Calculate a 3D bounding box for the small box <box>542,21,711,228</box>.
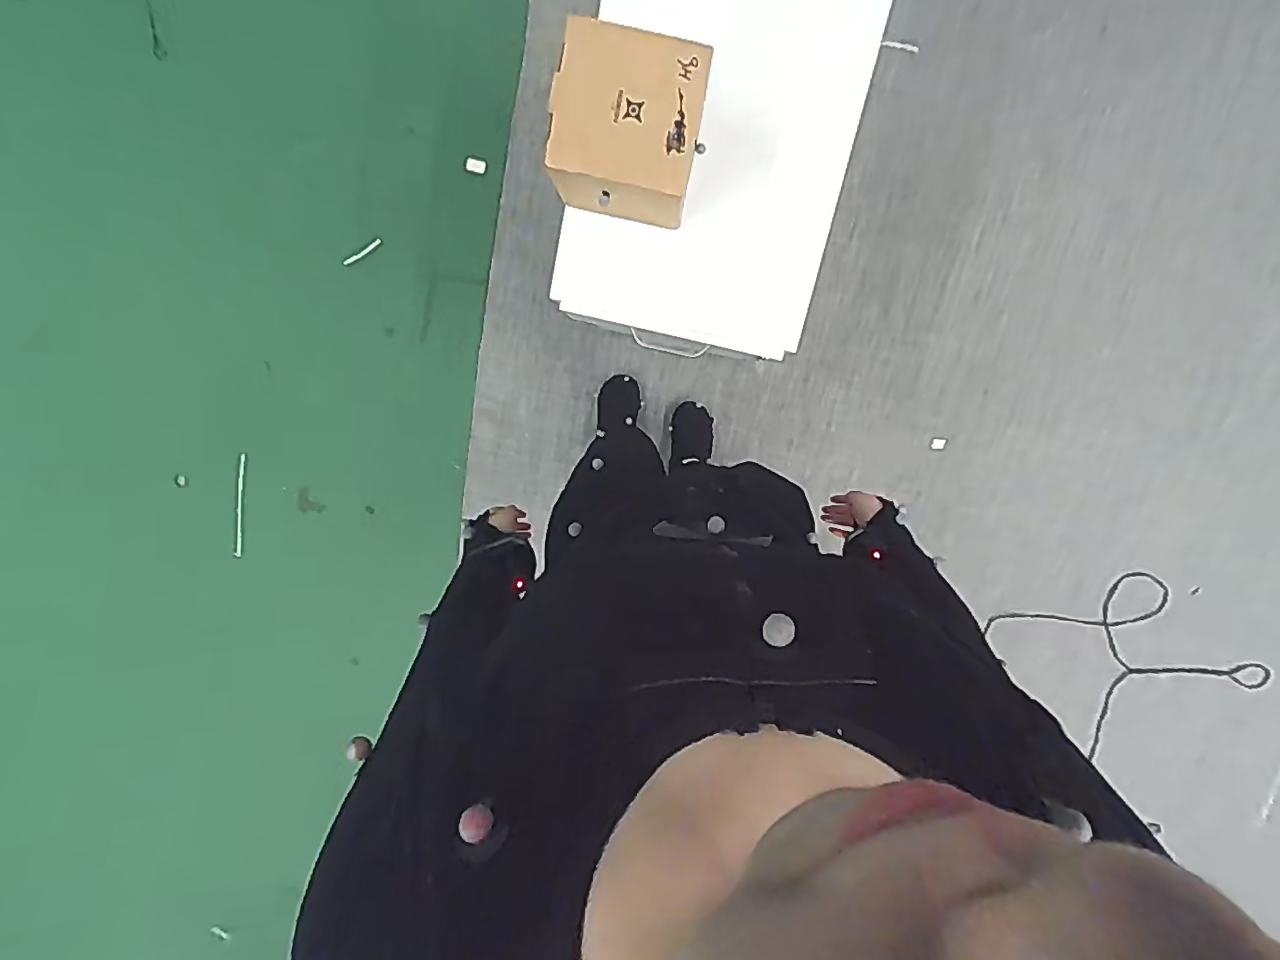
[{"bbox_3d":[-0.015,-0.451,0.717,0.179,0.176,0.168,12,102,0],"label":"small box"}]
